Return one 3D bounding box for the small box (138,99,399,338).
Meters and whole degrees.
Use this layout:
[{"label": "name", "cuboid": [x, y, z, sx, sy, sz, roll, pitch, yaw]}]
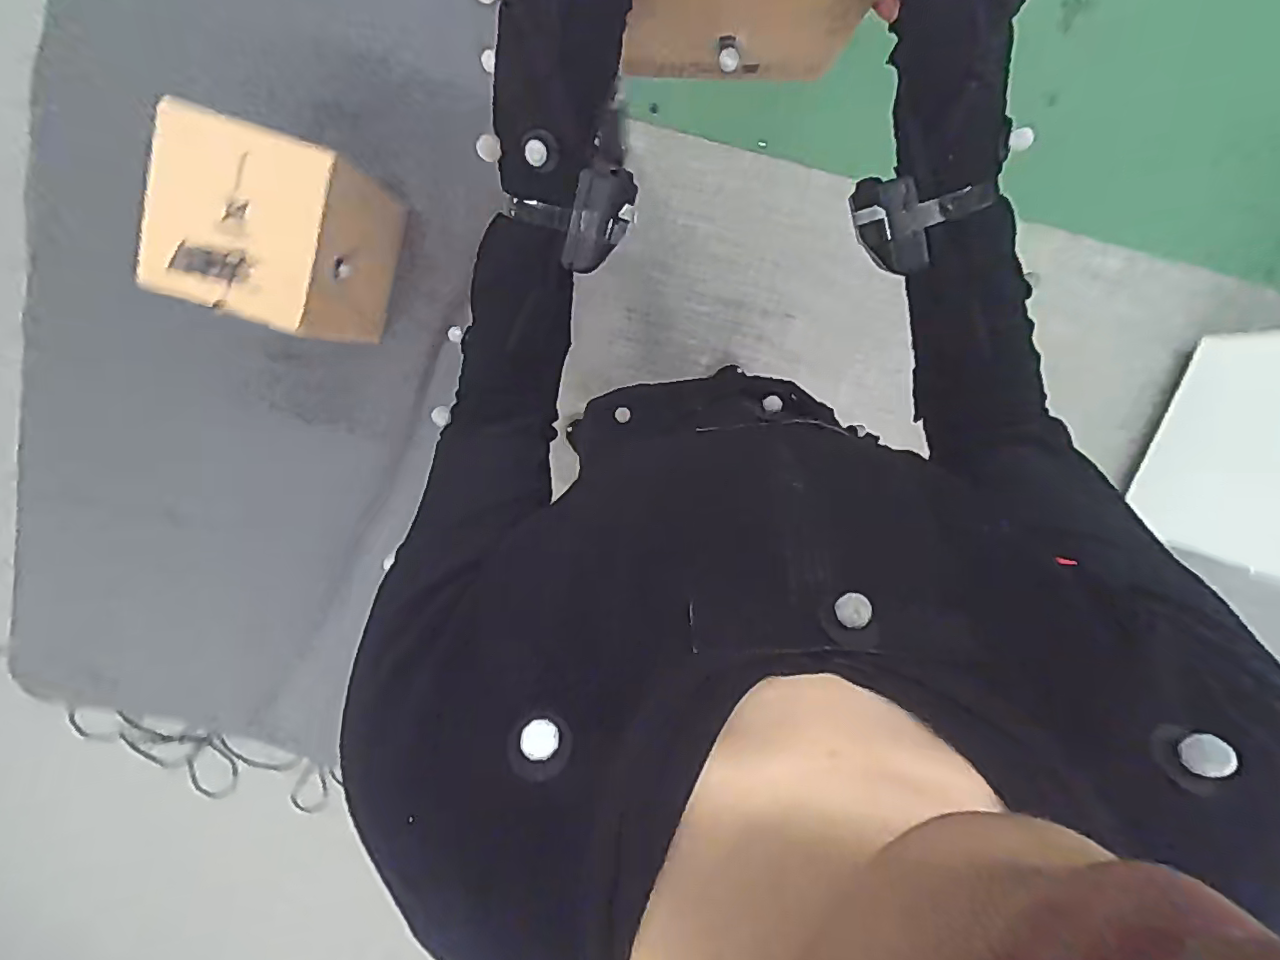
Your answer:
[{"label": "small box", "cuboid": [-0.394, -0.267, 0.602, 0.168, 0.176, 0.179, 17, 100, -3]}]
